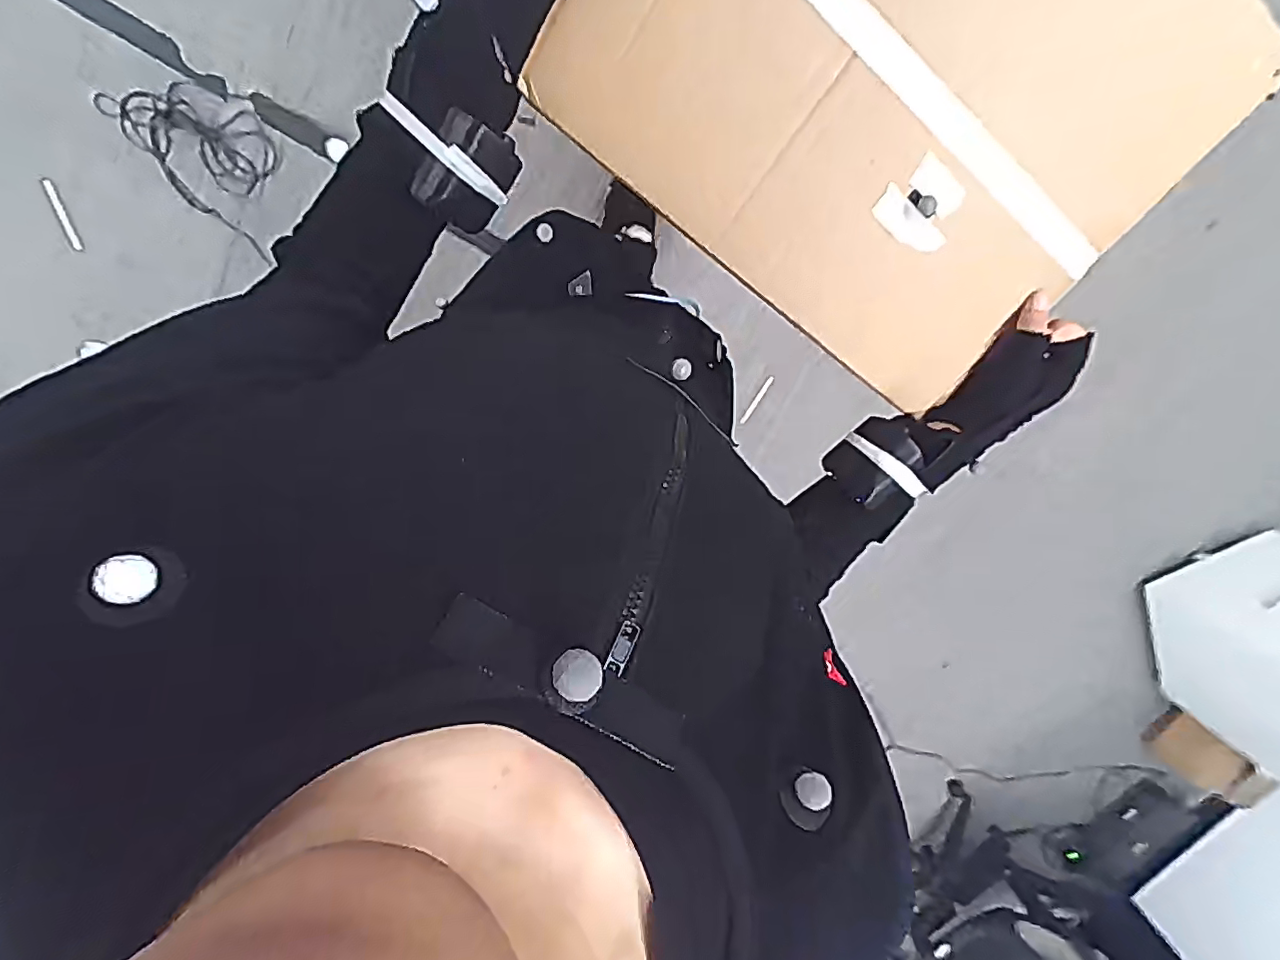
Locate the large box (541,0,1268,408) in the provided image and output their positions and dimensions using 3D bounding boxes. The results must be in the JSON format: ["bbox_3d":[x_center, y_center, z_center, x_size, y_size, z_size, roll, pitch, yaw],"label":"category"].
[{"bbox_3d":[0.174,-0.340,0.494,0.408,0.320,0.320,33,114,-18],"label":"large box"}]
